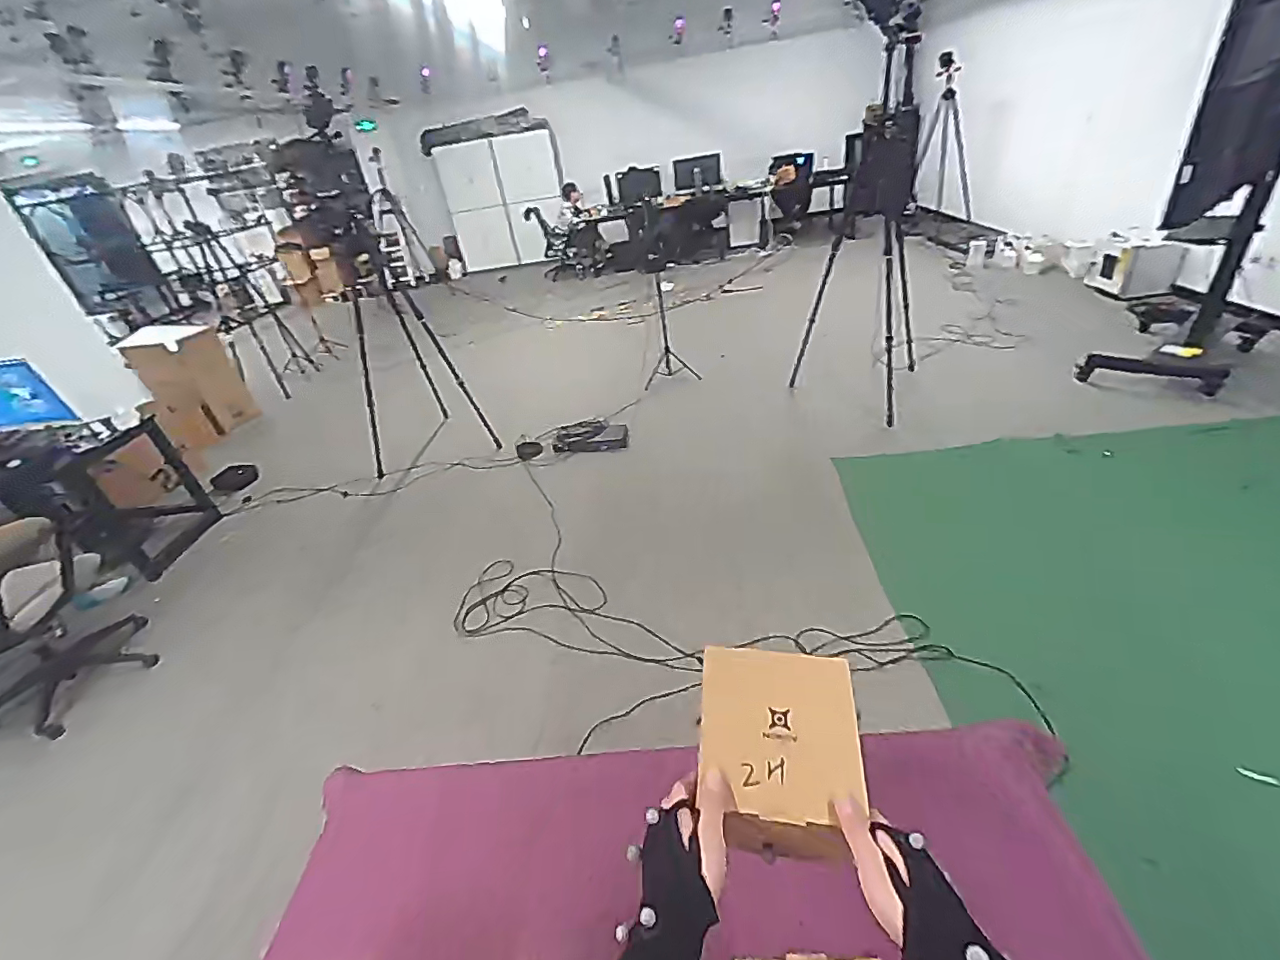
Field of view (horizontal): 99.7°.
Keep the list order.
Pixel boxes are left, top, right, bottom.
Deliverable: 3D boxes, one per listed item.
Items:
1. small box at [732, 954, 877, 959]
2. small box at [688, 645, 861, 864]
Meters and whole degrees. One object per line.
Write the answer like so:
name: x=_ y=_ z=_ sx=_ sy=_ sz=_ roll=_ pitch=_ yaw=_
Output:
small box: x=0.191 y=0.648 z=0.577 sx=0.168 sy=0.176 sz=0.179 roll=-7 pitch=32 yaw=8
small box: x=0.145 y=0.319 z=0.632 sx=0.168 sy=0.176 sz=0.179 roll=3 pitch=47 yaw=9
